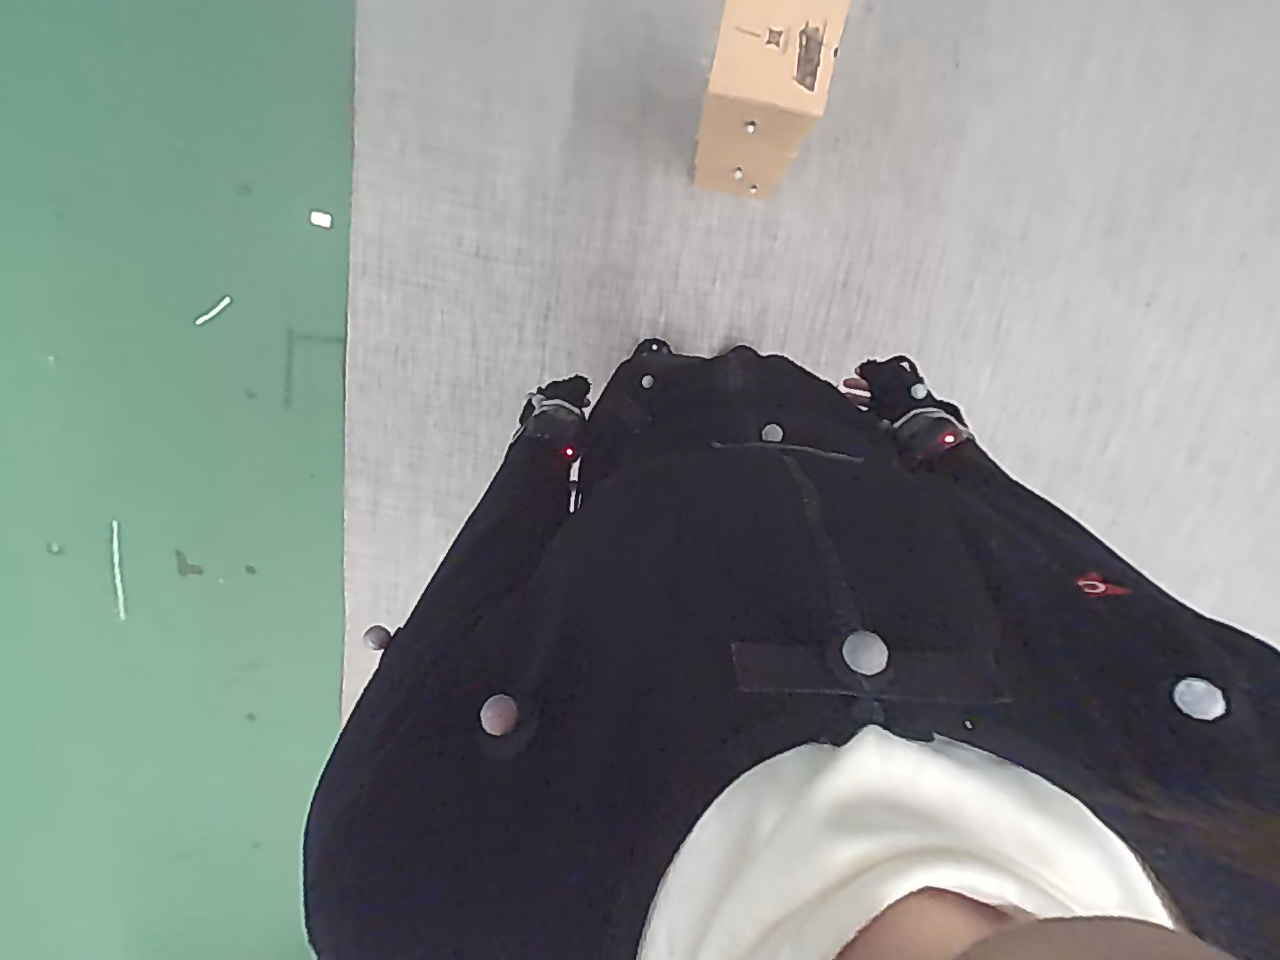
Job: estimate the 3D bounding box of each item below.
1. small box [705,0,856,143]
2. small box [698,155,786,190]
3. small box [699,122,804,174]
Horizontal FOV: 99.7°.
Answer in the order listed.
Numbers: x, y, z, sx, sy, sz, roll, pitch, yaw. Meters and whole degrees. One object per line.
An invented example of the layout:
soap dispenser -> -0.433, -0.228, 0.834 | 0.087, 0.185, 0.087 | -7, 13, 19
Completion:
small box -> 0.208, -0.652, 0.845 | 0.179, 0.176, 0.168 | 9, 105, -1
small box -> 0.228, -0.741, 1.161 | 0.179, 0.176, 0.168 | 11, 105, 1
small box -> 0.218, -0.693, 1.005 | 0.179, 0.176, 0.168 | 14, 105, -2
